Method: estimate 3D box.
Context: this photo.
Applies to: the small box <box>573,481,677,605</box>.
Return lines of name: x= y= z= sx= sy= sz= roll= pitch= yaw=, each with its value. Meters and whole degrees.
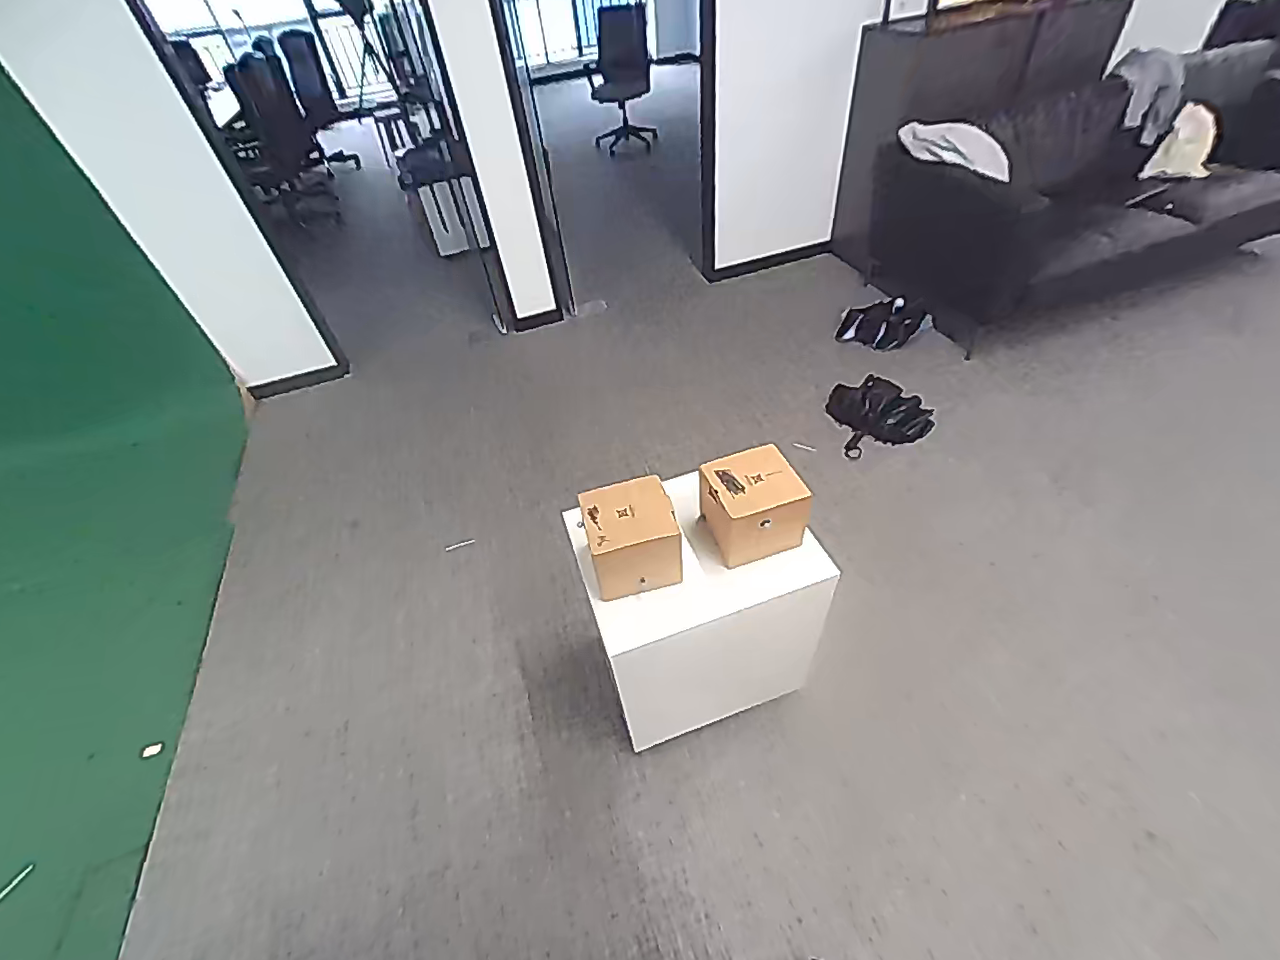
small box: x=-0.032 y=0.130 z=1.105 sx=0.179 sy=0.176 sz=0.168 roll=-12 pitch=45 yaw=-10

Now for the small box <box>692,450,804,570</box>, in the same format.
small box: x=0.221 y=0.067 z=1.152 sx=0.179 sy=0.176 sz=0.168 roll=-16 pitch=46 yaw=-12
